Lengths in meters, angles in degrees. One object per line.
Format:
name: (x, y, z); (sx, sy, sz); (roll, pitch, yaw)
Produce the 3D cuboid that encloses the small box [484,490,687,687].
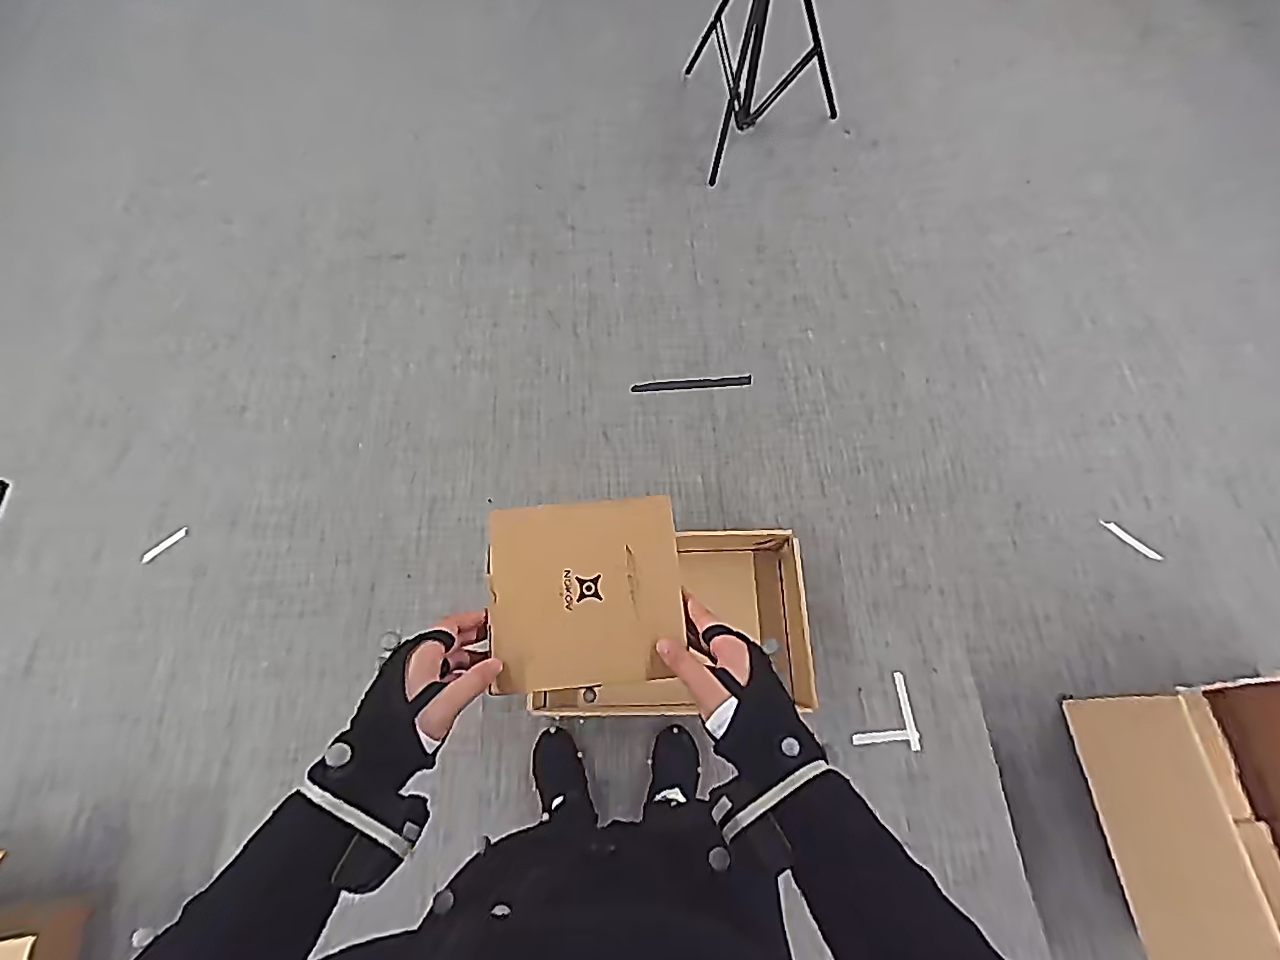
small box: (-0.054, 0.120, 0.565); (0.179, 0.176, 0.168); (-6, 72, -4)
